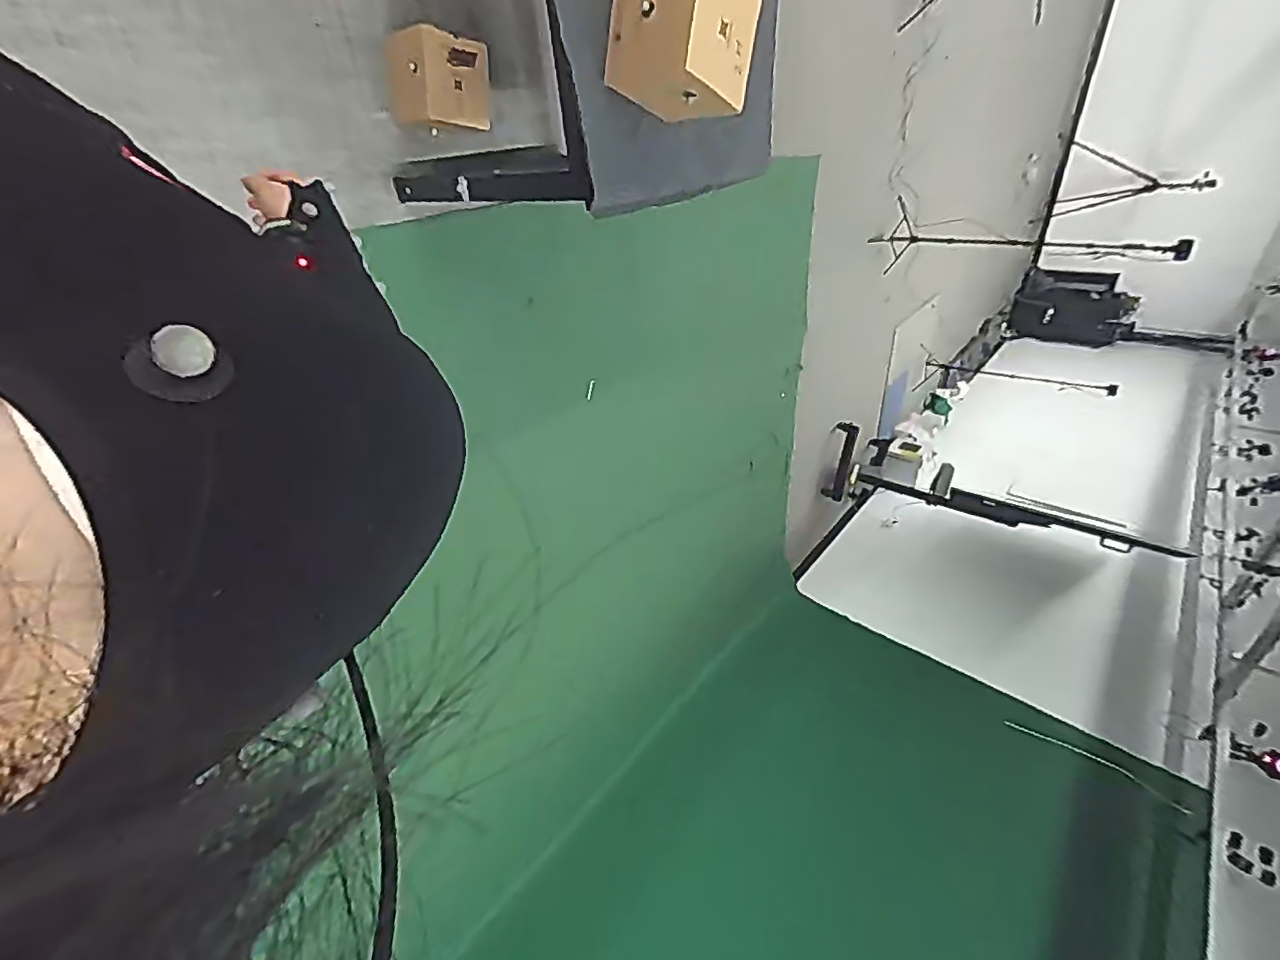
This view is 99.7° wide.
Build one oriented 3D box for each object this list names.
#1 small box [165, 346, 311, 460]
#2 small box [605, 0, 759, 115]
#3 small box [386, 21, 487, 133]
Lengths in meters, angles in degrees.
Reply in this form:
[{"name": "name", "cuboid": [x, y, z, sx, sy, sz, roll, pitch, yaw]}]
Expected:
[{"name": "small box", "cuboid": [-0.887, -0.174, 1.195, 0.168, 0.176, 0.179, -58, 144, -13]}, {"name": "small box", "cuboid": [0.064, -0.713, 0.871, 0.179, 0.176, 0.168, -13, 118, -51]}, {"name": "small box", "cuboid": [-0.486, -0.949, 1.292, 0.168, 0.176, 0.179, -21, 125, -44]}]
